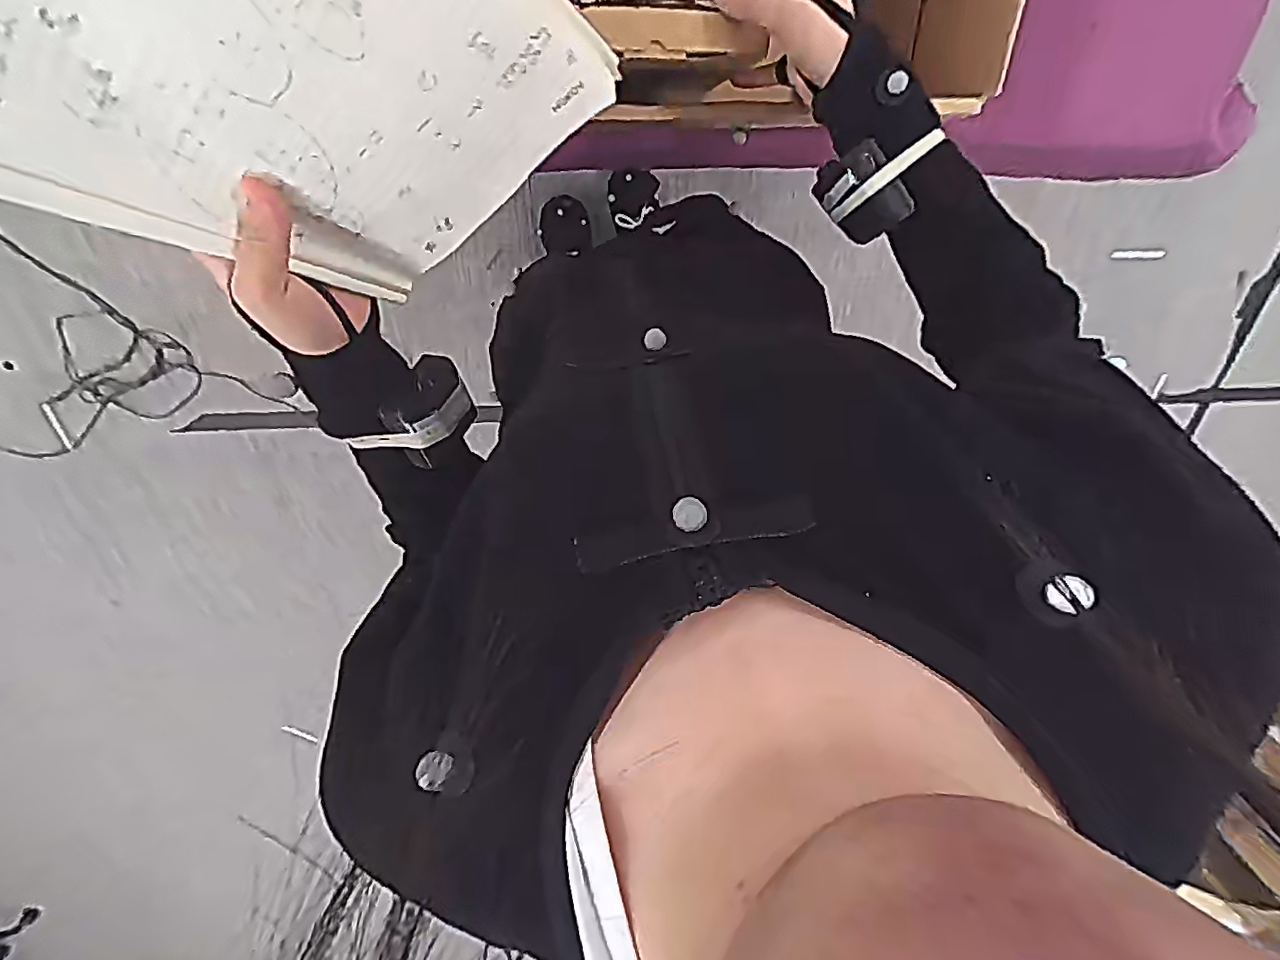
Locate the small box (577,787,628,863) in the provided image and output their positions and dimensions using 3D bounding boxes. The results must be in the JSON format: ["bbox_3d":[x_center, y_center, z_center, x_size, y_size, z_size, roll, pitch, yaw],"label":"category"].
[{"bbox_3d":[-0.135,1.206,1.904,0.168,0.176,0.179,-5,121,-3],"label":"small box"}]
